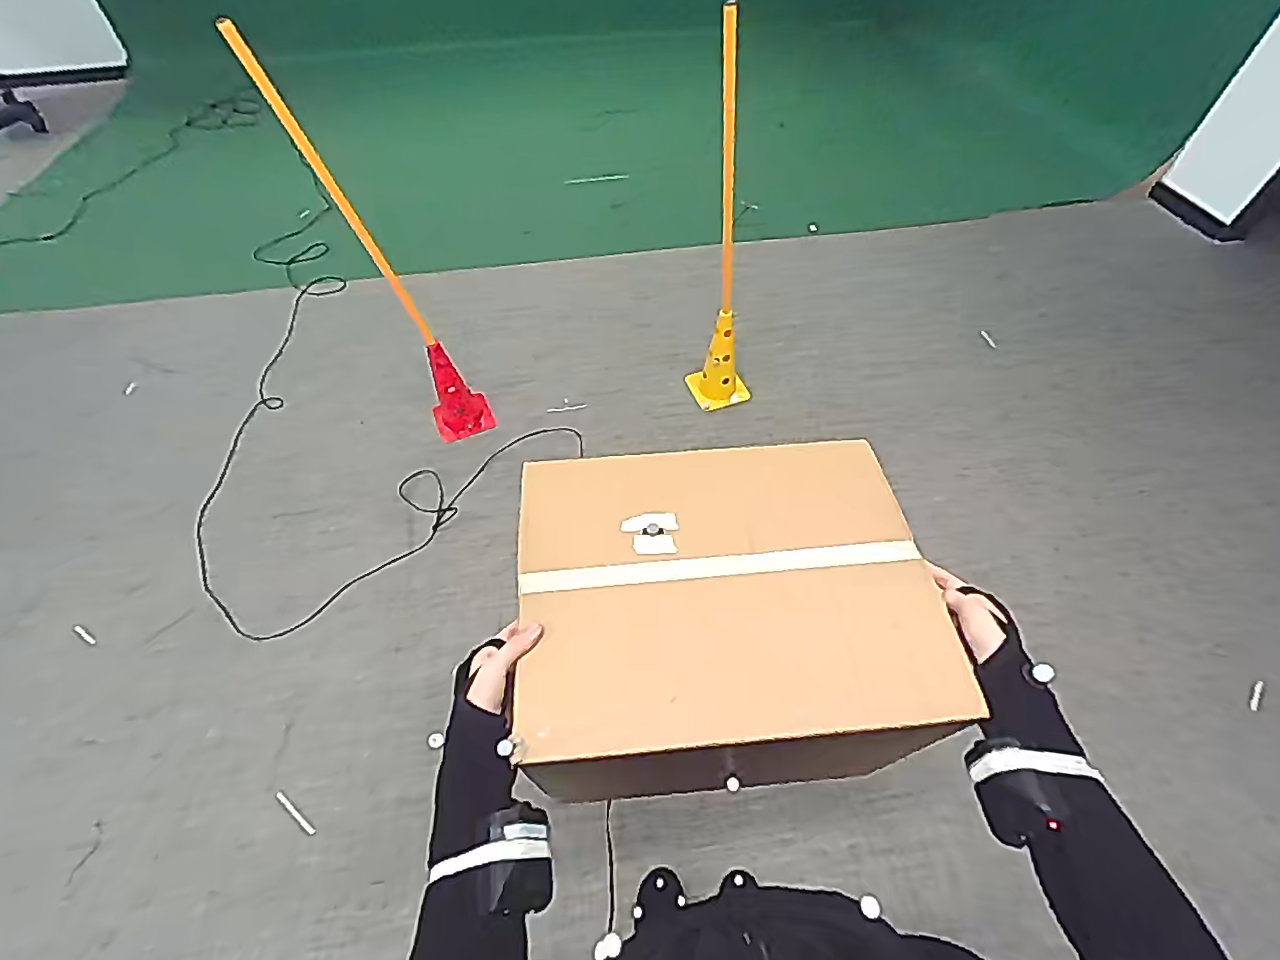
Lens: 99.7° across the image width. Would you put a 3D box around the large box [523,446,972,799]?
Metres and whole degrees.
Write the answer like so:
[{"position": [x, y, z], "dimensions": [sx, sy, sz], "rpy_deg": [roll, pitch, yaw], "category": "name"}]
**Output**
[{"position": [0.088, 0.187, 0.673], "dimensions": [0.408, 0.320, 0.320], "rpy_deg": [-5, 53, -2], "category": "large box"}]
